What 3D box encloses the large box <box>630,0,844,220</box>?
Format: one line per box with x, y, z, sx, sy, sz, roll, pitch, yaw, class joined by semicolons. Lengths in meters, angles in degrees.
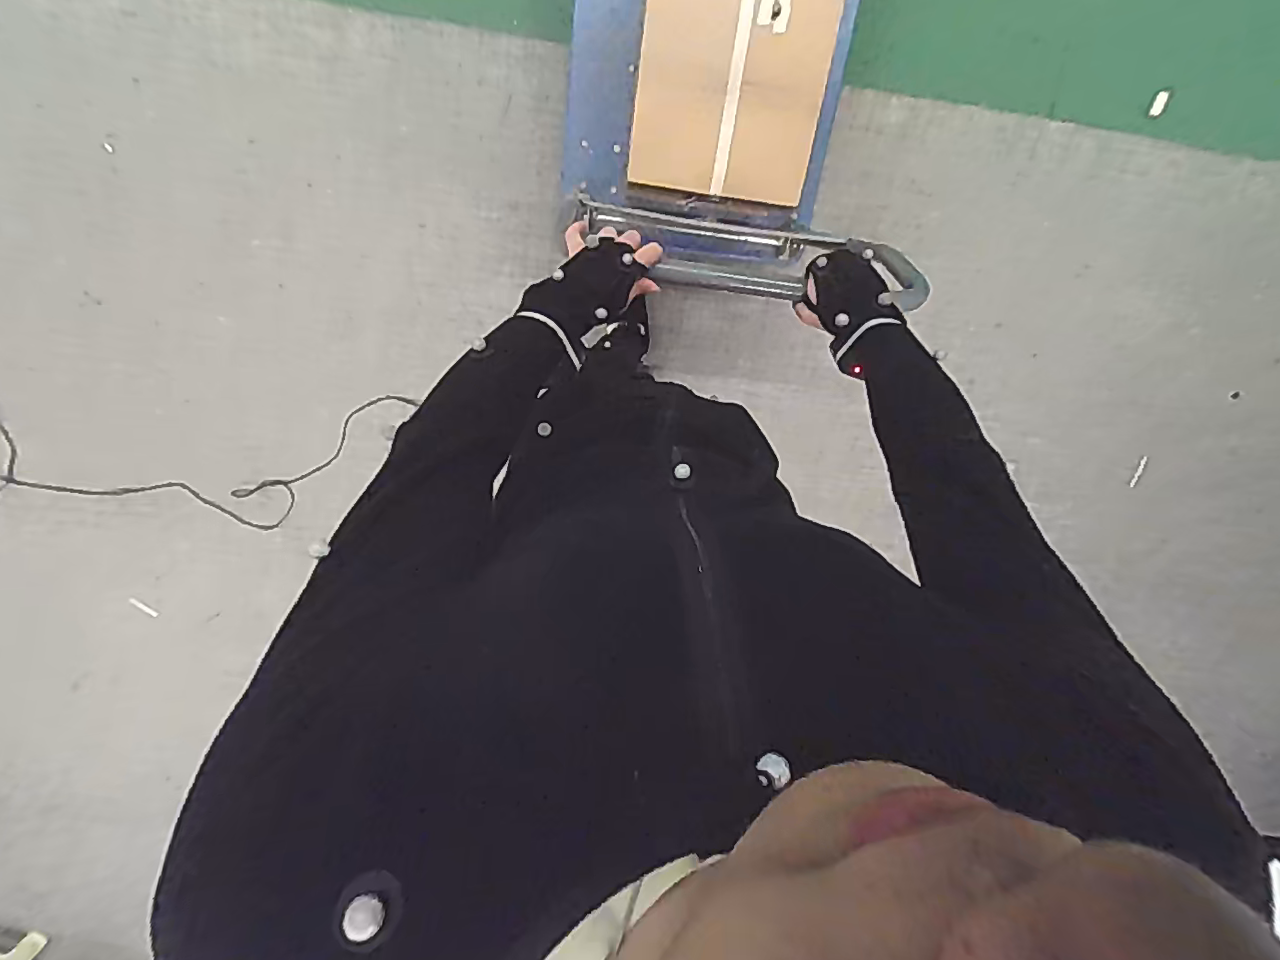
0.153;-0.733;1.018;0.320;0.320;0.408;6;113;-5;large box
